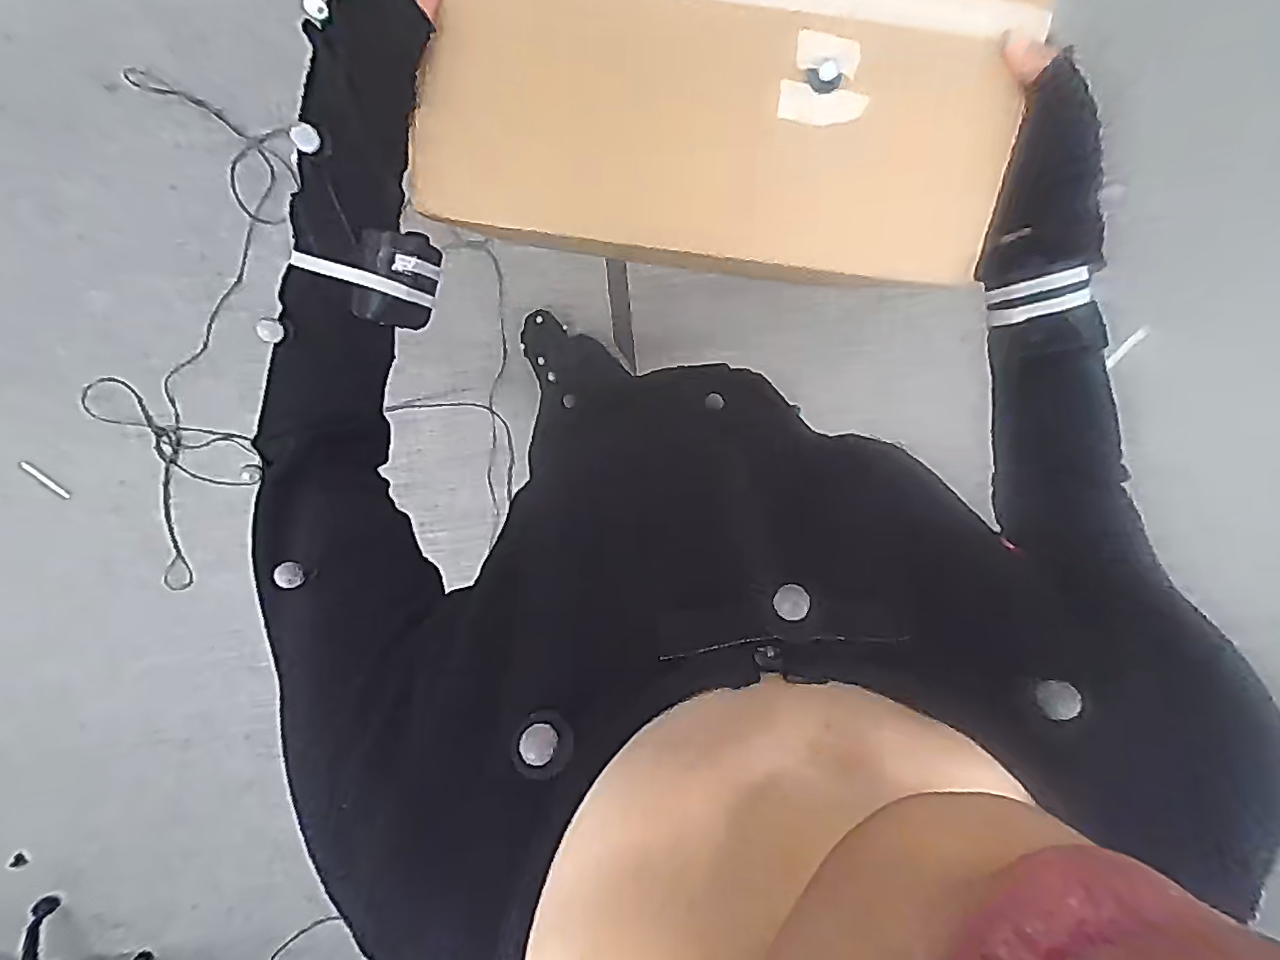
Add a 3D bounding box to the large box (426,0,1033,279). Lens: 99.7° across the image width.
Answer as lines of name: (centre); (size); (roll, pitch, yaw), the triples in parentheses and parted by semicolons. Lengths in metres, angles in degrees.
large box: (0.057, -0.368, 0.493); (0.408, 0.320, 0.320); (6, 110, -3)
